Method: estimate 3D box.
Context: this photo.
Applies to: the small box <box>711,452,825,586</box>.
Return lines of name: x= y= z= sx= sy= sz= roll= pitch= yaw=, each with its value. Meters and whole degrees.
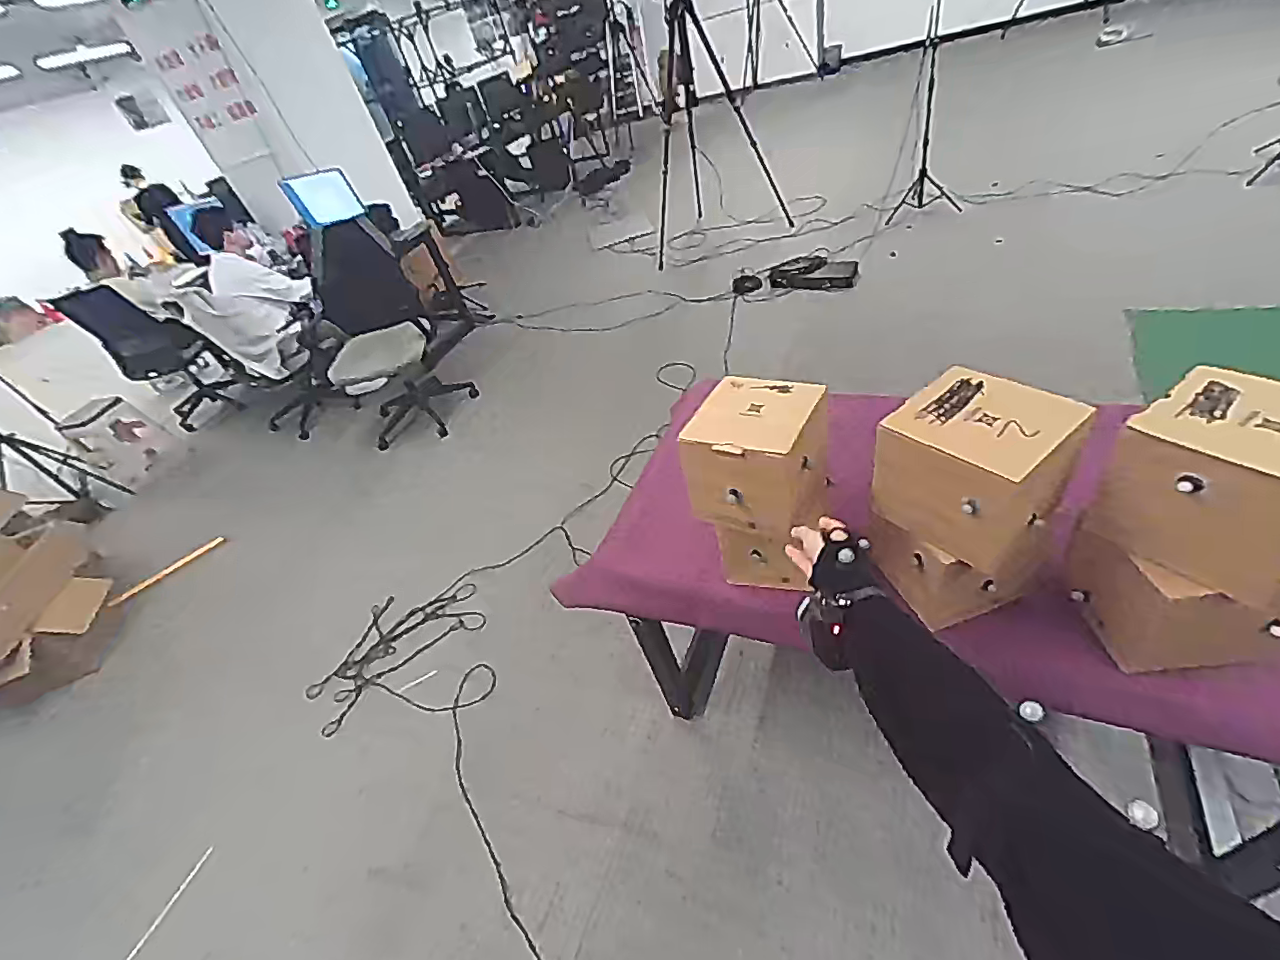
small box: x=0.232 y=0.067 z=0.949 sx=0.168 sy=0.176 sz=0.179 roll=1 pitch=43 yaw=21

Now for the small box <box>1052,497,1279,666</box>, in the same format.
small box: x=0.699 y=0.127 z=0.717 sx=0.179 sy=0.176 sz=0.168 roll=-10 pitch=40 yaw=10

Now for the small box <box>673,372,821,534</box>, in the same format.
small box: x=0.176 y=-0.043 z=0.840 sx=0.168 sy=0.176 sz=0.179 roll=15 pitch=51 yaw=32

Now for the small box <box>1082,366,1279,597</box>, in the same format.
small box: x=0.664 y=-0.001 z=0.621 sx=0.168 sy=0.176 sz=0.179 roll=-30 pitch=42 yaw=-16

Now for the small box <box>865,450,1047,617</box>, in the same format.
small box: x=0.471 y=0.089 z=0.837 sx=0.168 sy=0.176 sz=0.179 roll=-19 pitch=41 yaw=-3
